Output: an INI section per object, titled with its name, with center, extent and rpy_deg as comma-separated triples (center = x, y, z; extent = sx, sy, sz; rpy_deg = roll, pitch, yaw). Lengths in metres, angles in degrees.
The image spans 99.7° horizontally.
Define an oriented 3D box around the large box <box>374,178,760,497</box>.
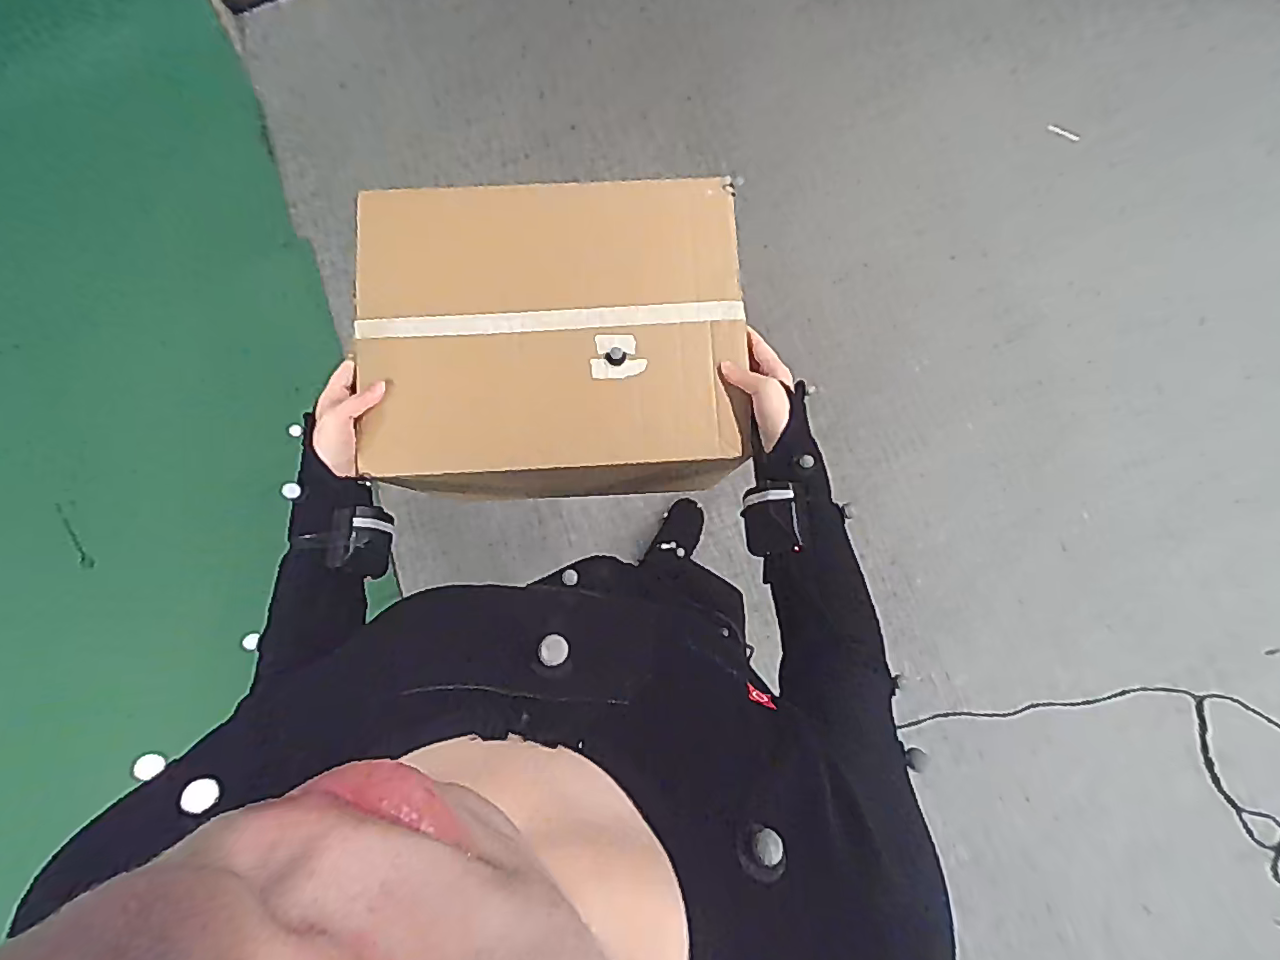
[large box]
center = -0.088, -0.156, 0.721
extent = 0.408, 0.320, 0.320
rpy_deg = -3, 83, -3
